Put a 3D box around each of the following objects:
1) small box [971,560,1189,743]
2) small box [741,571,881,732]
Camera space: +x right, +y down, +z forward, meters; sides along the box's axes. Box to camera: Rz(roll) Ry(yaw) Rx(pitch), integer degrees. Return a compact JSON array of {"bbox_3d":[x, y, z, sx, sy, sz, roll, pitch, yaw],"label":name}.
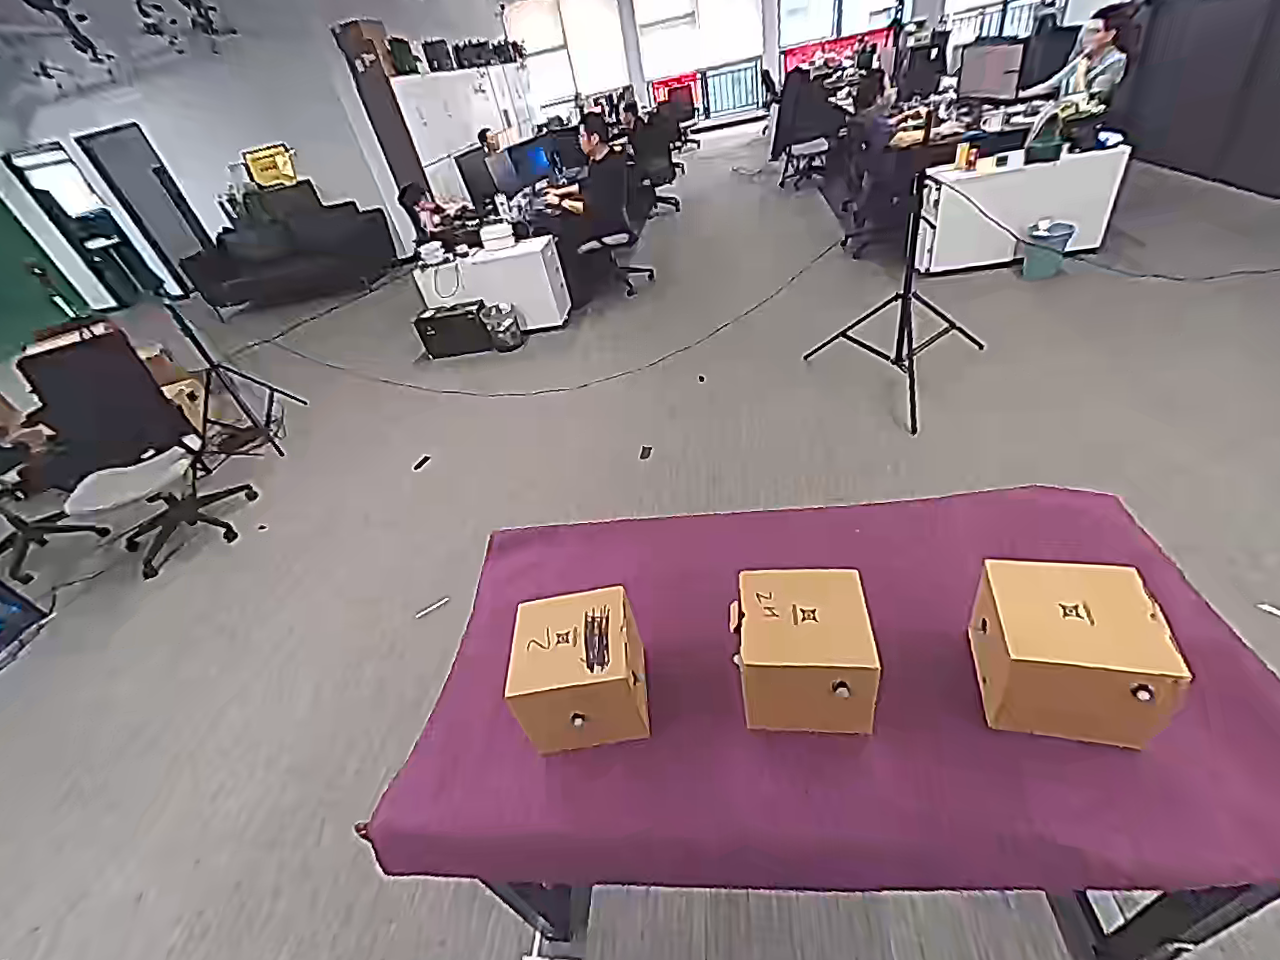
[{"bbox_3d":[0.564,0.228,0.730,0.179,0.176,0.168,1,39,19],"label":"small box"},{"bbox_3d":[0.243,0.253,0.801,0.179,0.176,0.168,-4,37,13],"label":"small box"}]
